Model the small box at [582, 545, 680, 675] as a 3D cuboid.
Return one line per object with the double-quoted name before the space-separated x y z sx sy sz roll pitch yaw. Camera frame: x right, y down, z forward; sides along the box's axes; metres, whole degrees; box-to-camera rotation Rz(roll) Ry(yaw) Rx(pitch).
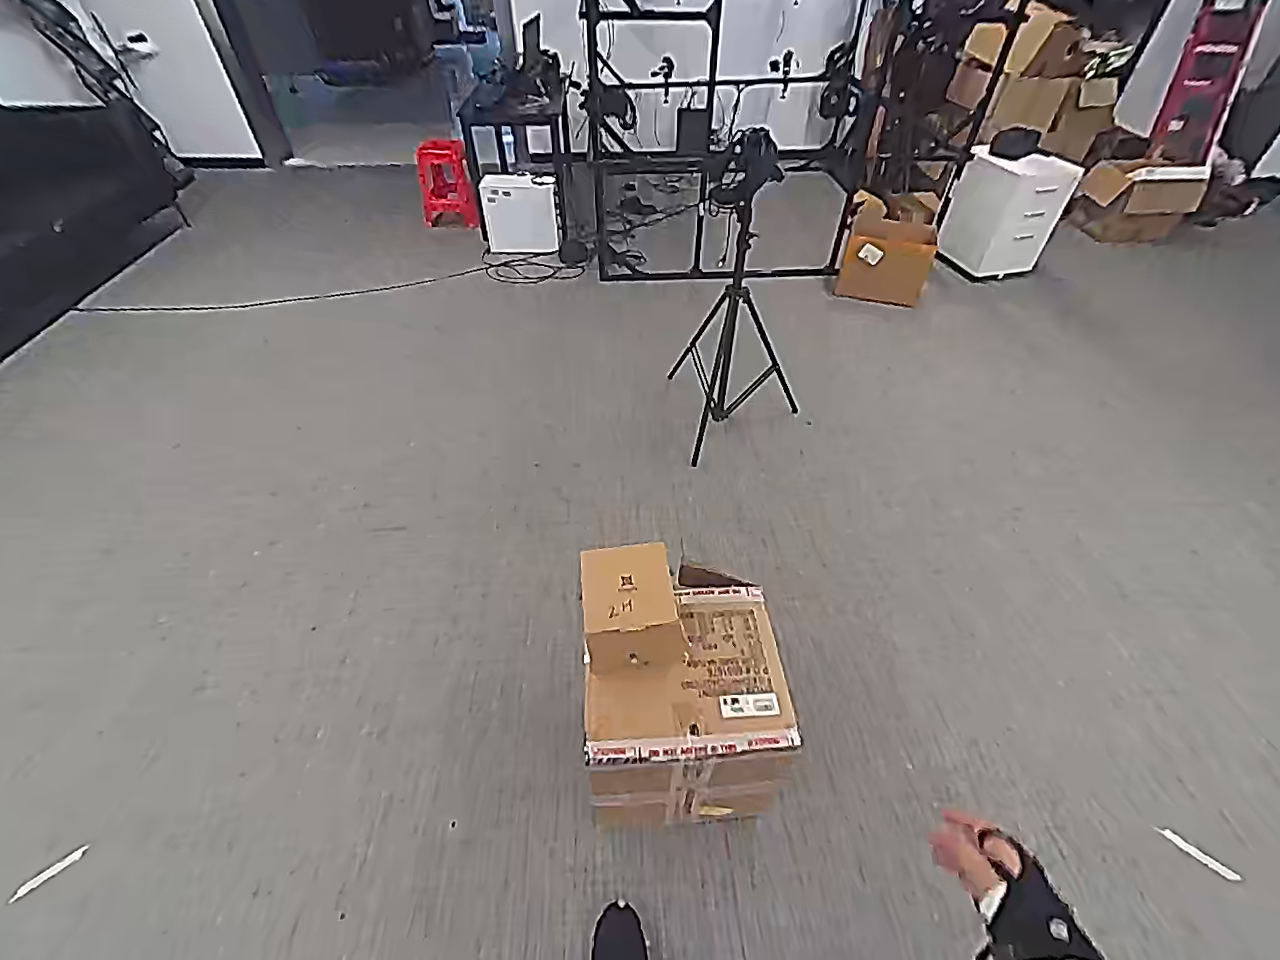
"small box" -0.020 0.250 1.039 0.168 0.176 0.179 -7 48 -4
